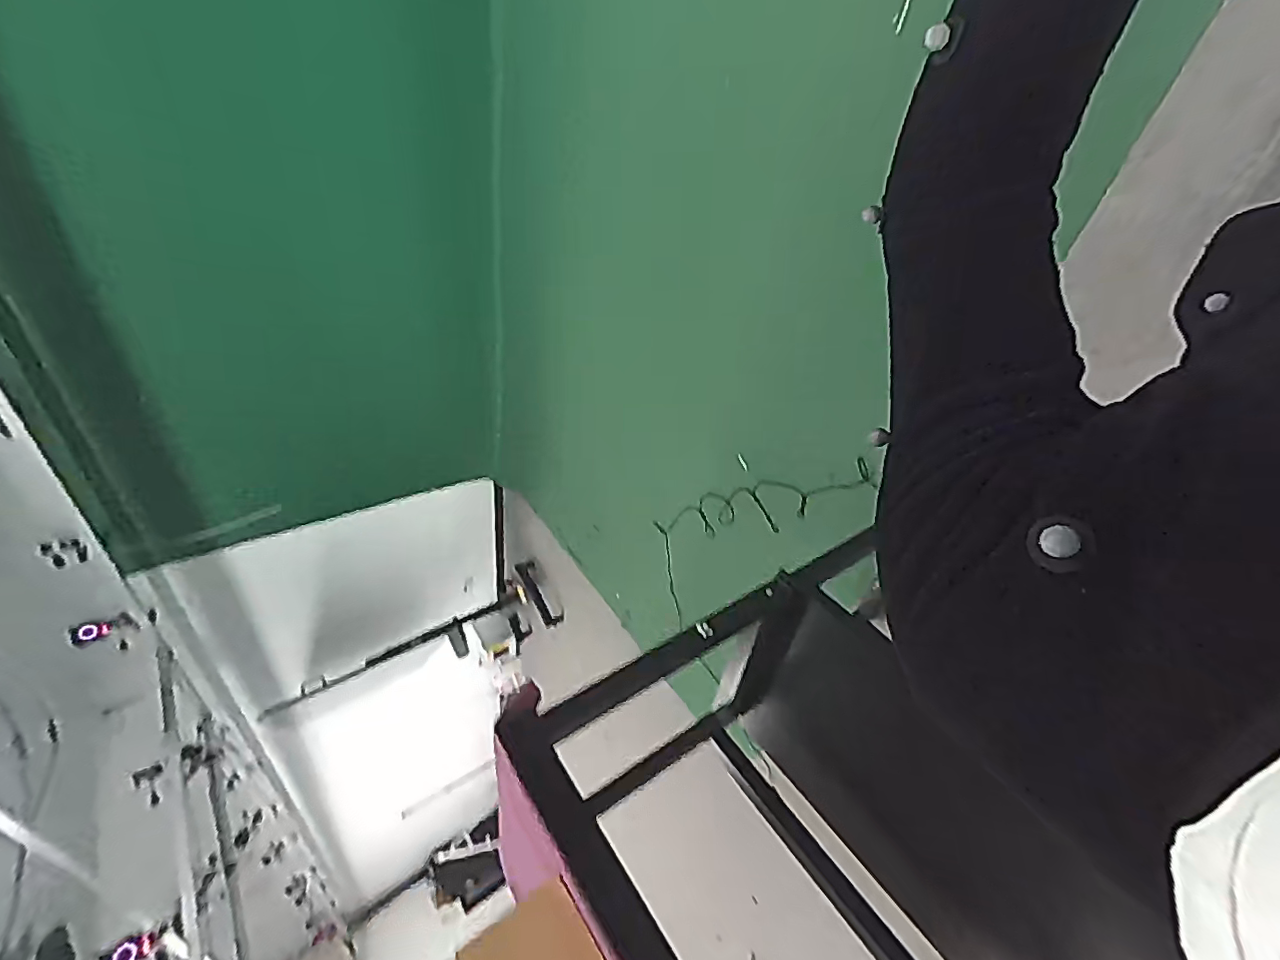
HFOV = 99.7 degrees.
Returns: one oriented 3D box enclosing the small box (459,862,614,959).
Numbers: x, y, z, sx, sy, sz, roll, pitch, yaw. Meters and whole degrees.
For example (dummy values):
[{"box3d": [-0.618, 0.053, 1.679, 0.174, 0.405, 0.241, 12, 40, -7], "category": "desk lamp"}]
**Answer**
[{"box3d": [-0.146, 0.717, 0.791, 0.179, 0.176, 0.168, 46, 140, 34], "category": "small box"}]
